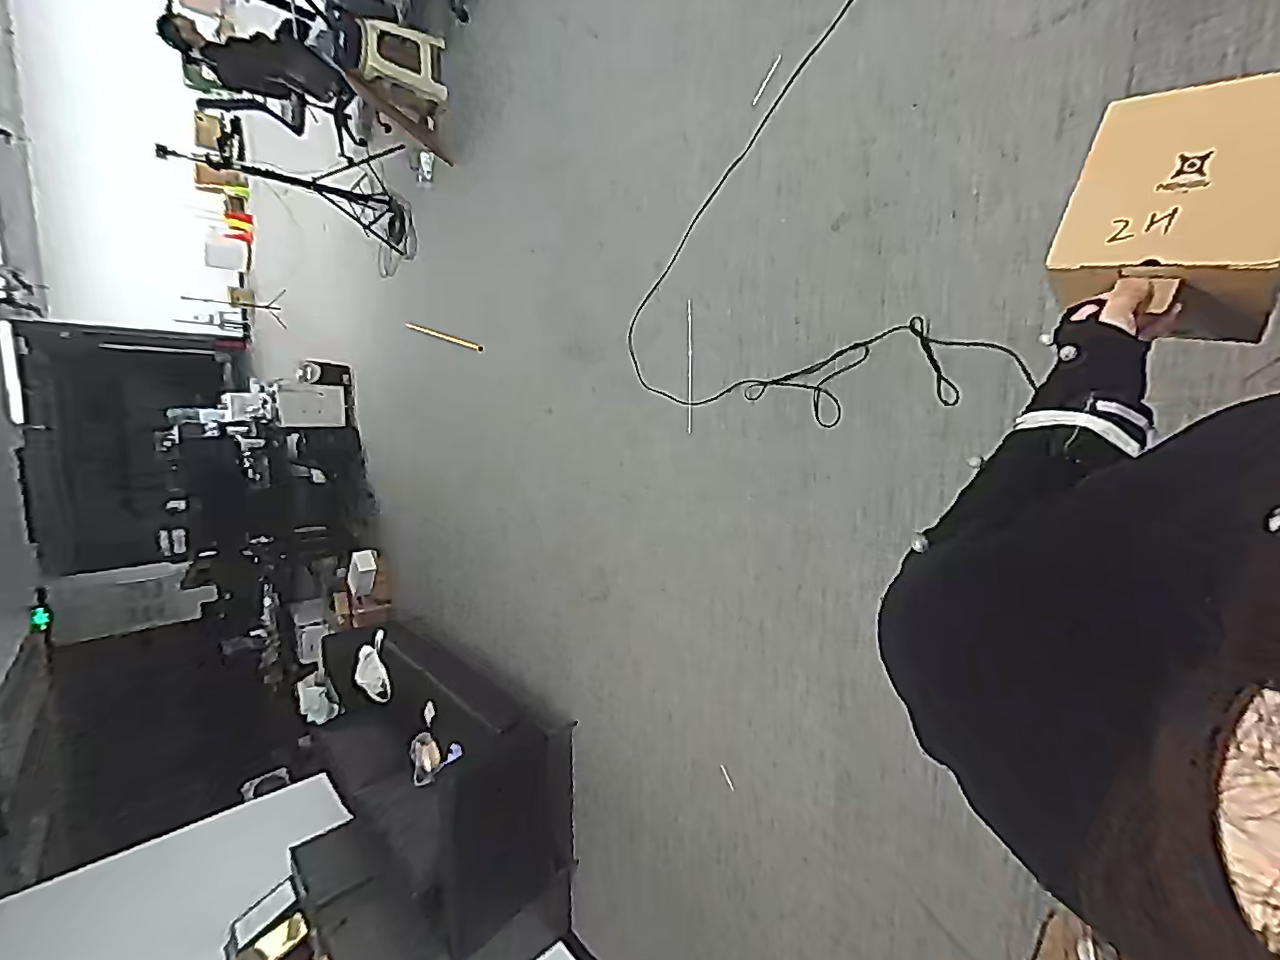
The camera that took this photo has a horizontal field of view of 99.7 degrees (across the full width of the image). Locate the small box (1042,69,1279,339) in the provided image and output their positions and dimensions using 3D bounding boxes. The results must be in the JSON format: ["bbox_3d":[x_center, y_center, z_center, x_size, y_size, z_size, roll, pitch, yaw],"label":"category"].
[{"bbox_3d":[0.549,-0.265,0.551,0.168,0.176,0.179,24,95,46],"label":"small box"}]
